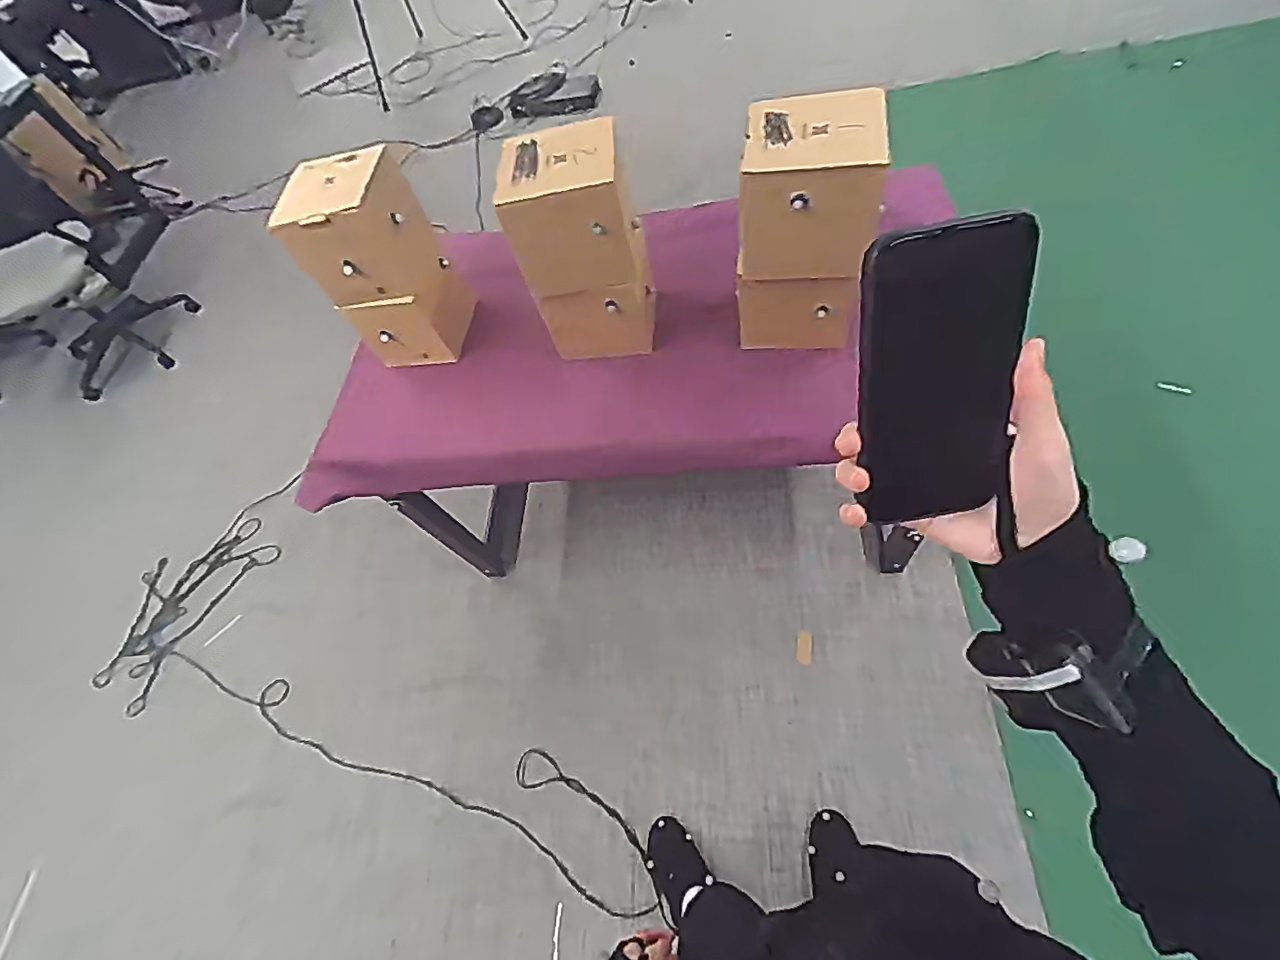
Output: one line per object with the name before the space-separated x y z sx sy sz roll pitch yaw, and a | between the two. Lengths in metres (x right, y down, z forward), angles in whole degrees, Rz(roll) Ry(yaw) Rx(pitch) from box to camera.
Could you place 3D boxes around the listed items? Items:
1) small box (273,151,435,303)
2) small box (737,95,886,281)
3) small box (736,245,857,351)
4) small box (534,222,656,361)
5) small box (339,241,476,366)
small box | -0.482 -0.429 0.945 0.168 0.176 0.179 -5 60 9
small box | 0.236 -0.399 0.760 0.179 0.176 0.168 4 61 15
small box | 0.261 -0.332 0.908 0.179 0.176 0.168 4 61 16
small box | -0.071 -0.336 0.986 0.179 0.176 0.168 -2 60 12
small box | -0.450 -0.342 1.080 0.168 0.176 0.179 -1 60 13
